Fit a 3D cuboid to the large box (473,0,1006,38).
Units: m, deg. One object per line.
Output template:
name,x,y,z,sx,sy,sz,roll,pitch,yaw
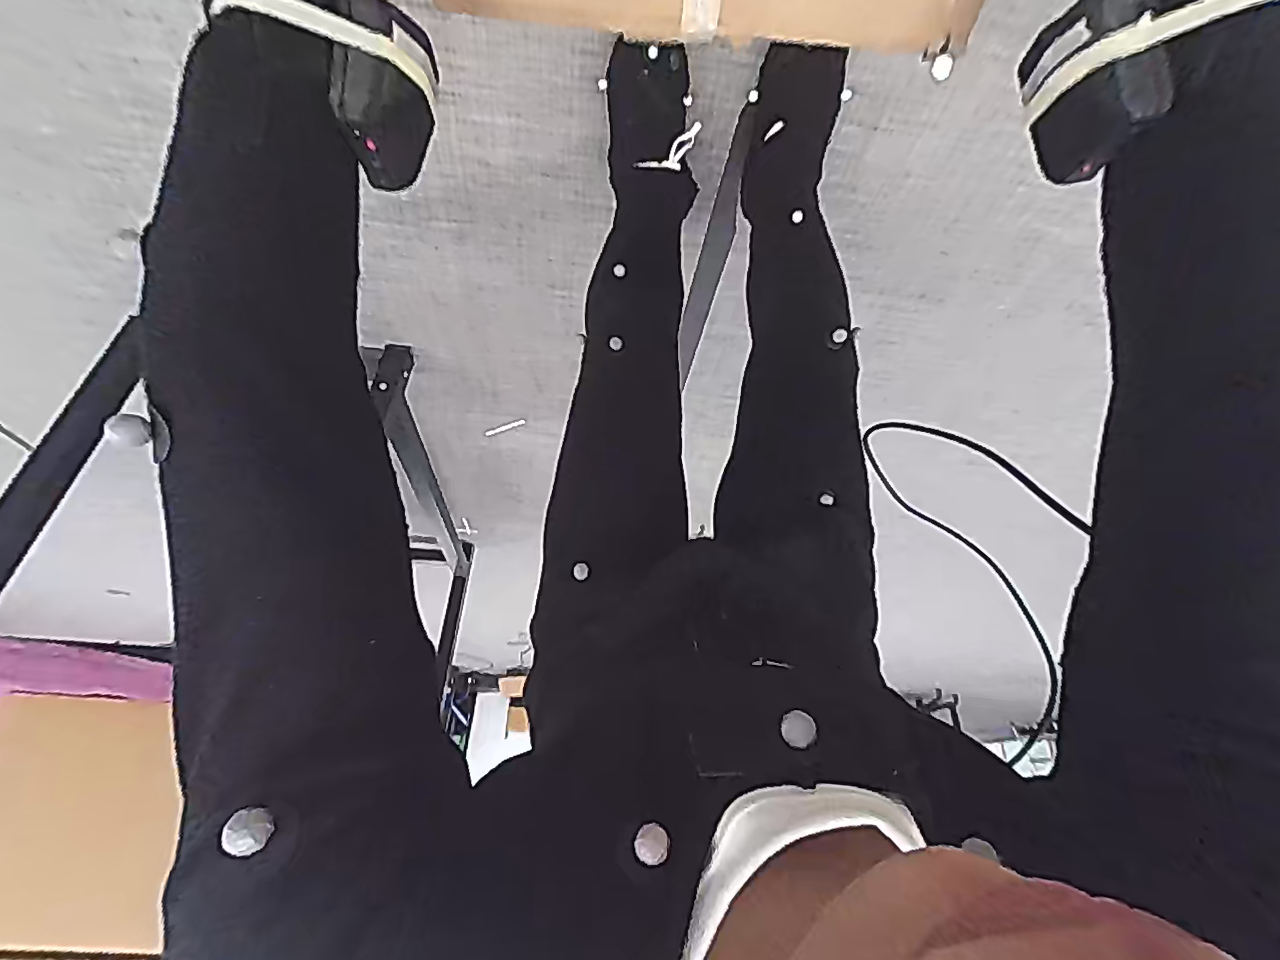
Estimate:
large box,0.065,-0.503,0.244,0.320,0.320,0.408,5,143,1
